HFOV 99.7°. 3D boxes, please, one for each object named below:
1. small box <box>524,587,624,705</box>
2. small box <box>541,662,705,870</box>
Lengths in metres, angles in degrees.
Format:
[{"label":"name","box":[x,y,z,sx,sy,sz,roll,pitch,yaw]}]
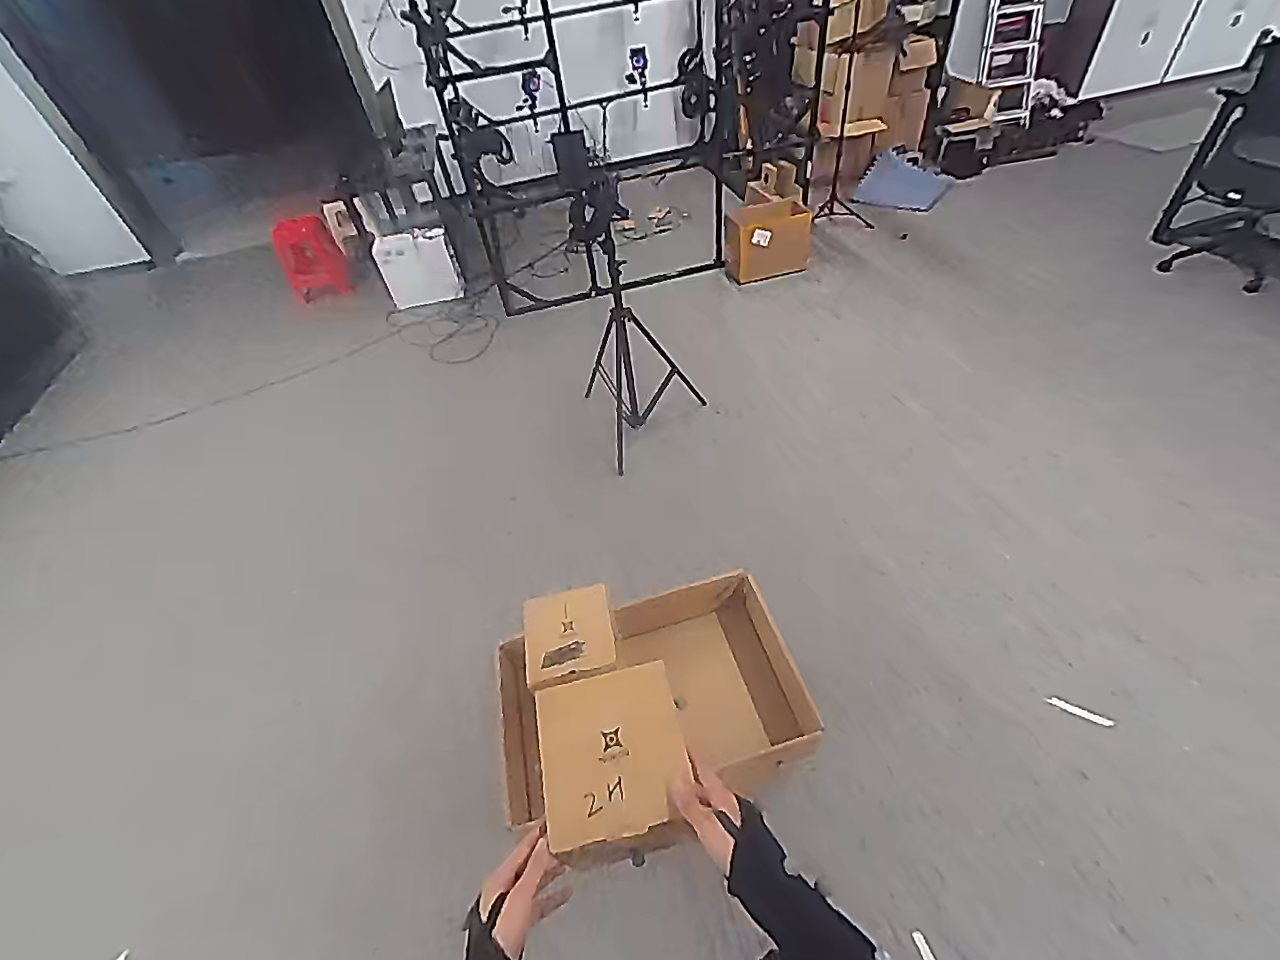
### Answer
[{"label":"small box","box":[-0.126,0.343,1.070,0.168,0.176,0.179,-12,45,-3]},{"label":"small box","box":[-0.022,0.361,0.681,0.168,0.176,0.179,-13,50,-4]}]
